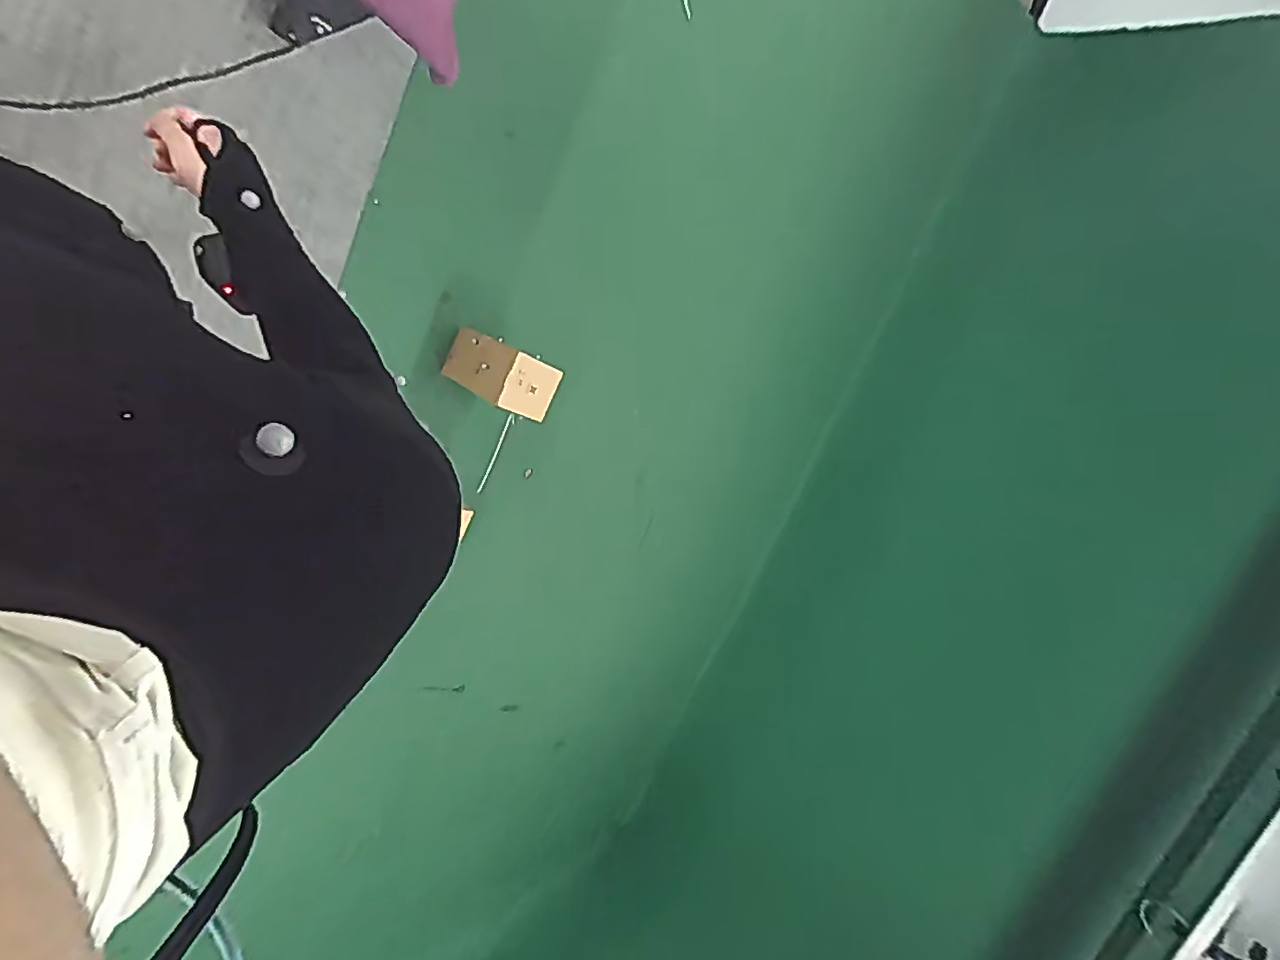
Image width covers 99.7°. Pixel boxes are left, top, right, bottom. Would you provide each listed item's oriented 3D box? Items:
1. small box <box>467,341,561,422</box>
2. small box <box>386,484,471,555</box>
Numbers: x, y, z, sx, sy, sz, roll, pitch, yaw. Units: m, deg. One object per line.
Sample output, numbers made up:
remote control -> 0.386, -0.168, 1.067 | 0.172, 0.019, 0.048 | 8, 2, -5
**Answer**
small box -> -0.374, -0.293, 1.601 | 0.179, 0.176, 0.168 | 19, 99, -52
small box -> -0.701, 0.129, 1.786 | 0.179, 0.176, 0.168 | 17, 101, -51
